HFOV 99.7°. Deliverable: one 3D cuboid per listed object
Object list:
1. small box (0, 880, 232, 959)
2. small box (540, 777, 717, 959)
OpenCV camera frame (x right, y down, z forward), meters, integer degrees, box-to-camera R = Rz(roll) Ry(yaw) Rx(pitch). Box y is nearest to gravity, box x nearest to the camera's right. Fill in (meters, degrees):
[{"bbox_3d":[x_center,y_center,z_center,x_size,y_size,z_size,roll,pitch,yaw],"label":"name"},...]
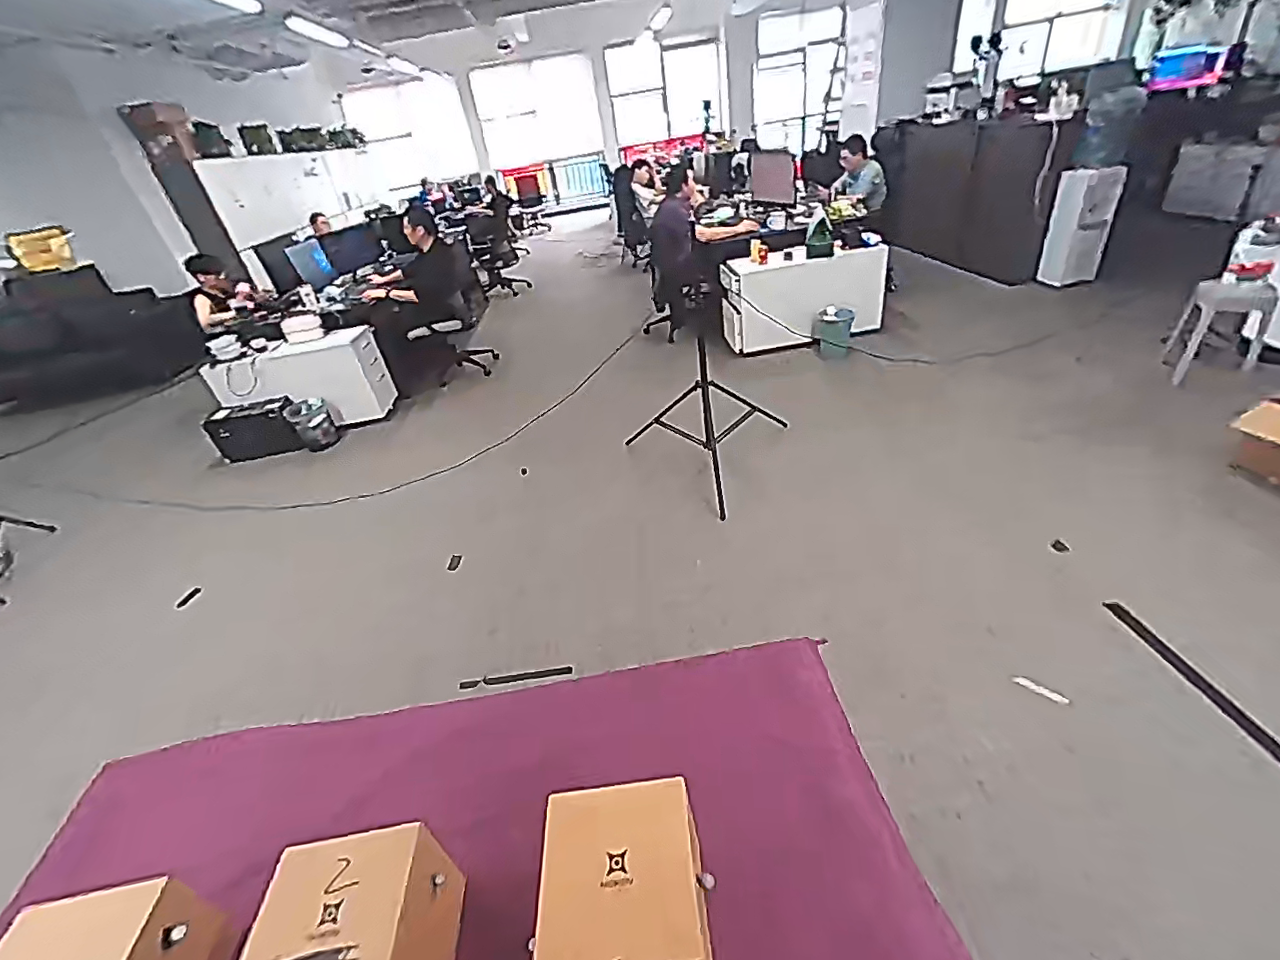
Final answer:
[{"bbox_3d":[-0.598,0.588,0.592,0.168,0.176,0.179,-11,33,-3],"label":"small box"},{"bbox_3d":[-0.007,0.473,0.608,0.168,0.176,0.179,-9,32,2],"label":"small box"}]
